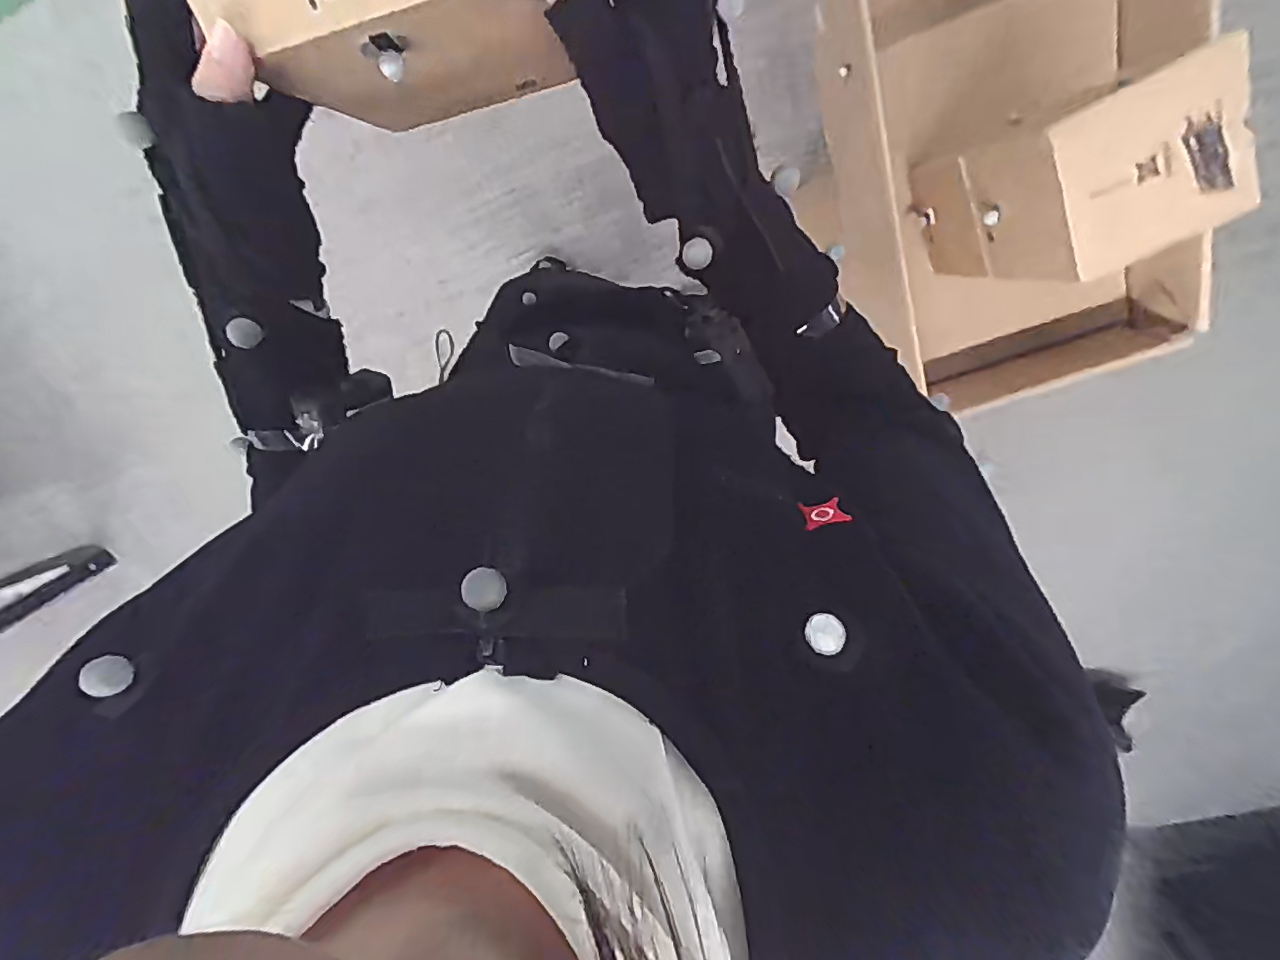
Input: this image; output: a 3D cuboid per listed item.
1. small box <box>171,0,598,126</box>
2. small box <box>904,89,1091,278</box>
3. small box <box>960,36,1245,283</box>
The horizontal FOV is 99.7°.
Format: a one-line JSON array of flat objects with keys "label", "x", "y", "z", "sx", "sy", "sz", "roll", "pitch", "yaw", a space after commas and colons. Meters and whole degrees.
[{"label": "small box", "x": -0.124, "y": -0.304, "z": 0.259, "sx": 0.168, "sy": 0.176, "sz": 0.179, "roll": -12, "pitch": 113, "yaw": 7}, {"label": "small box", "x": 0.512, "y": -0.407, "z": 0.769, "sx": 0.179, "sy": 0.176, "sz": 0.168, "roll": -23, "pitch": 109, "yaw": 12}, {"label": "small box", "x": 0.510, "y": -0.344, "z": 0.617, "sx": 0.179, "sy": 0.176, "sz": 0.168, "roll": -24, "pitch": 109, "yaw": 11}]
